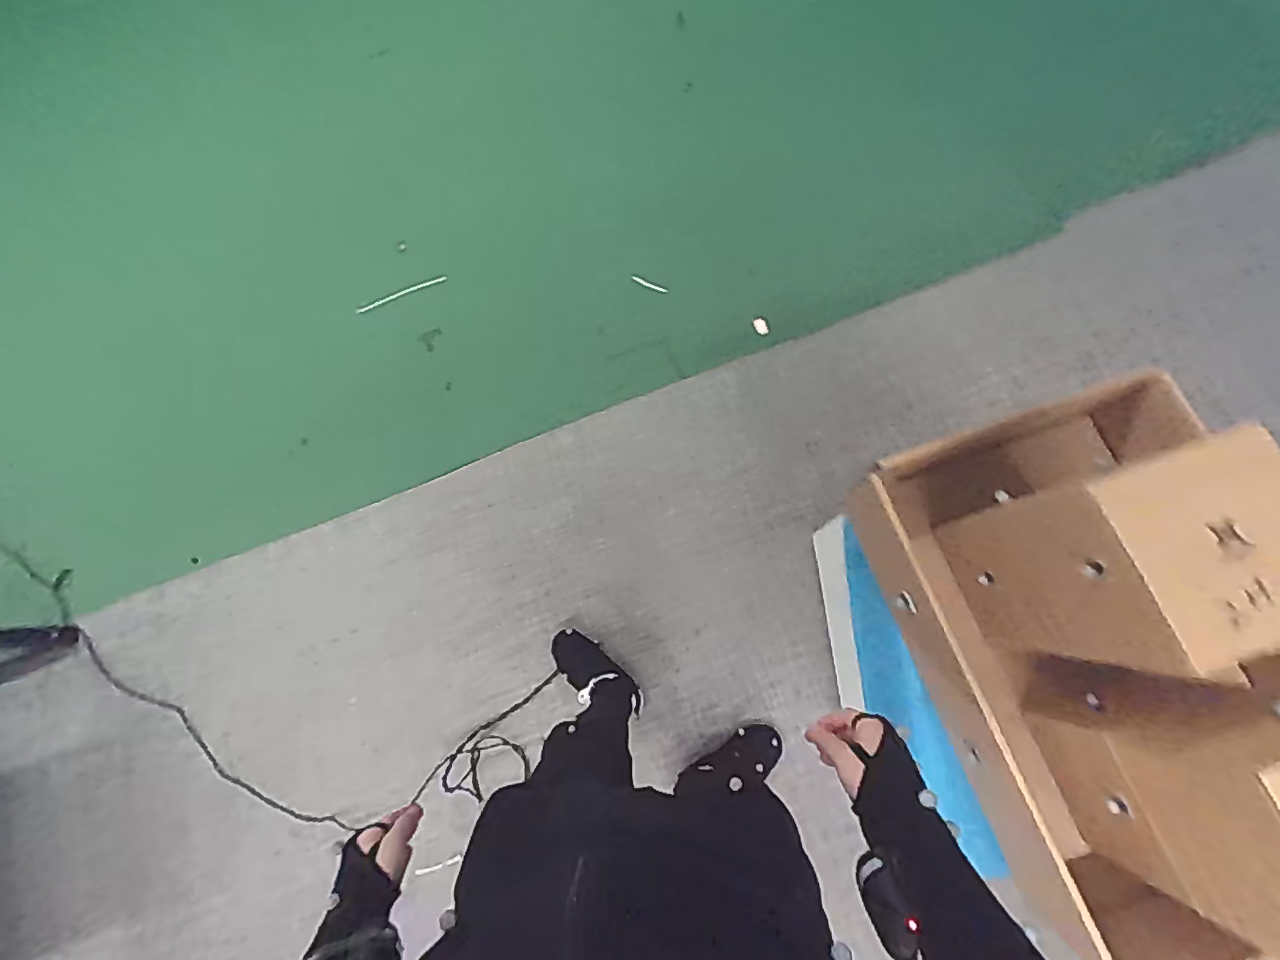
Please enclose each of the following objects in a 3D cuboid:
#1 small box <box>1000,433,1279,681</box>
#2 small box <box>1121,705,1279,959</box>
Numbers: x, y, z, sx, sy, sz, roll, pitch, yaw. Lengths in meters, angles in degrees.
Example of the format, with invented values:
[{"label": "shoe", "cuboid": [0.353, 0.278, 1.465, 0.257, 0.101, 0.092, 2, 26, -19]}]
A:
[{"label": "small box", "cuboid": [0.510, 0.080, 0.539, 0.168, 0.176, 0.179, -20, 76, 1]}, {"label": "small box", "cuboid": [0.595, 0.312, 0.475, 0.168, 0.176, 0.179, -18, 74, 1]}]
